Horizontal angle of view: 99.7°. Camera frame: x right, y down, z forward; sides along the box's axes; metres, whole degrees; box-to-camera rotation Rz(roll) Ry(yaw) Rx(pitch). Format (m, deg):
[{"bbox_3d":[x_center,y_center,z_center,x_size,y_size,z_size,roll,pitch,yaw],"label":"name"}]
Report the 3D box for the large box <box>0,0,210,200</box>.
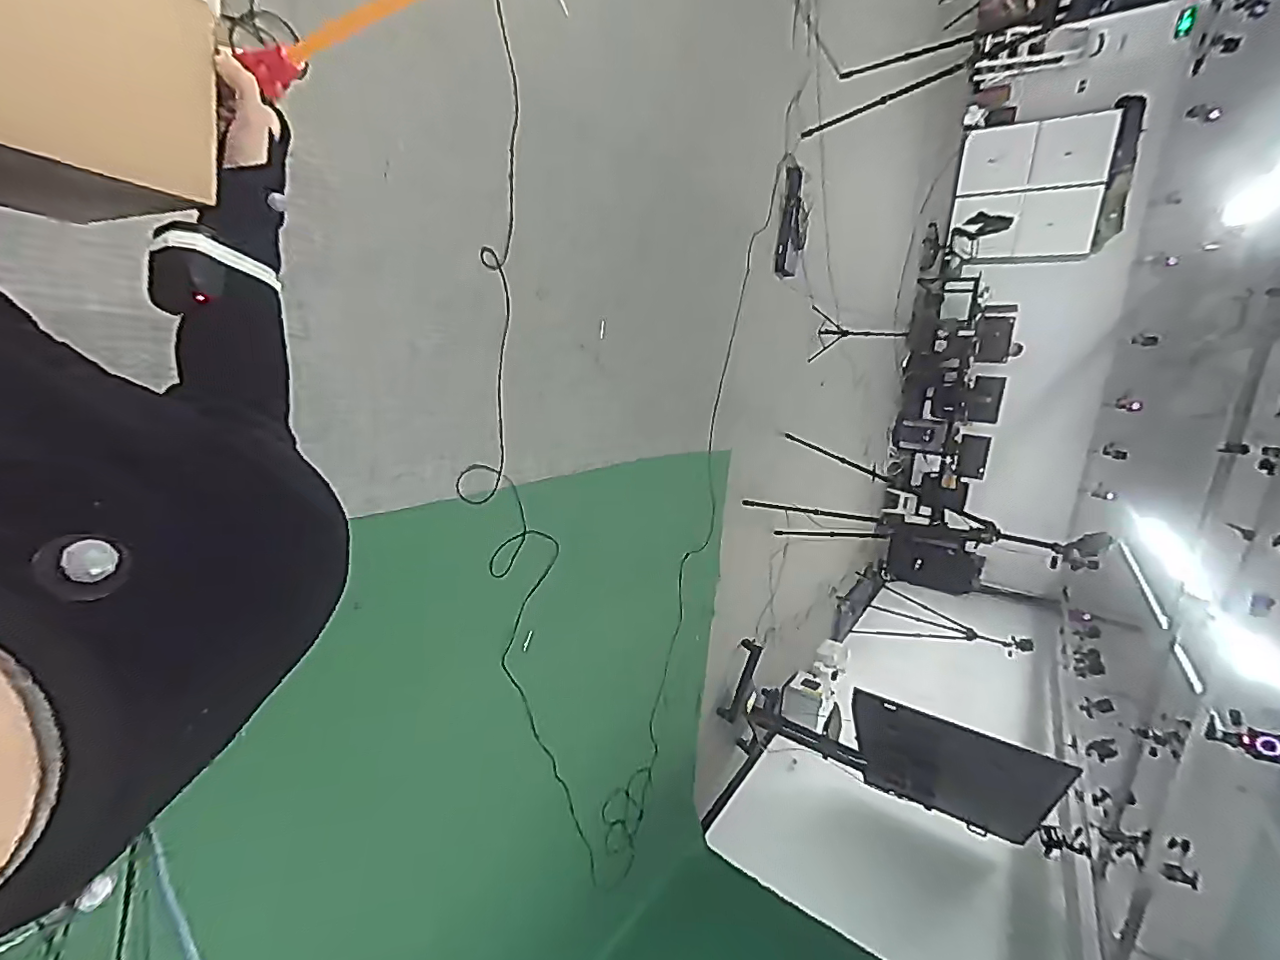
[{"bbox_3d":[-0.575,-0.401,0.335,0.408,0.320,0.320,-11,110,-59],"label":"large box"}]
